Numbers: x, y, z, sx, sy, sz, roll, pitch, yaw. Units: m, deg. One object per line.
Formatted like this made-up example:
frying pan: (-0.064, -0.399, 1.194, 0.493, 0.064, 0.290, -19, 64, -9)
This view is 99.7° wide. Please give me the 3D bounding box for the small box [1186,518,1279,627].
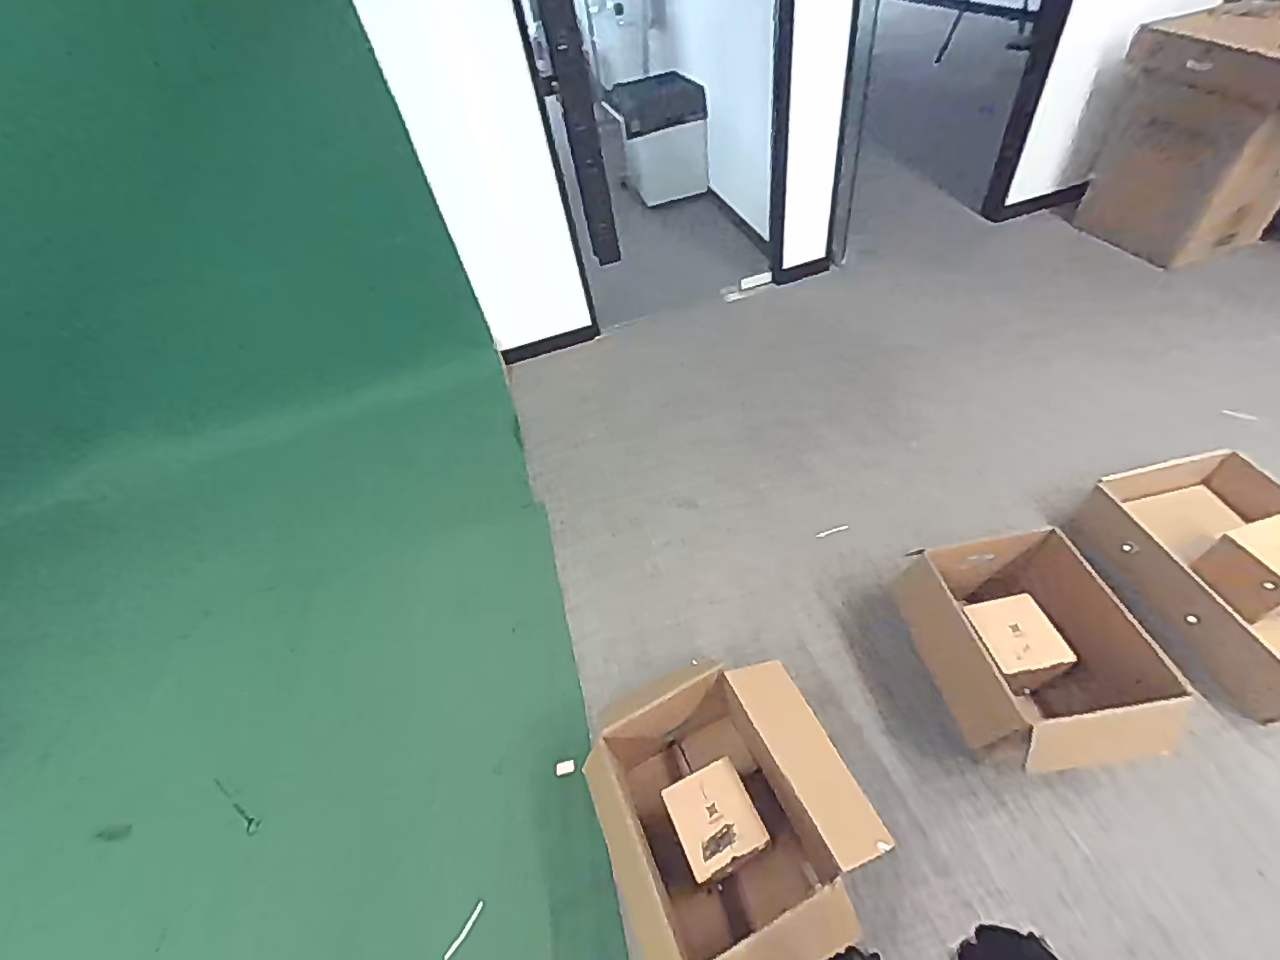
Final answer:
small box: (1.514, 0.225, 1.314, 0.168, 0.176, 0.179, -16, 48, -4)
